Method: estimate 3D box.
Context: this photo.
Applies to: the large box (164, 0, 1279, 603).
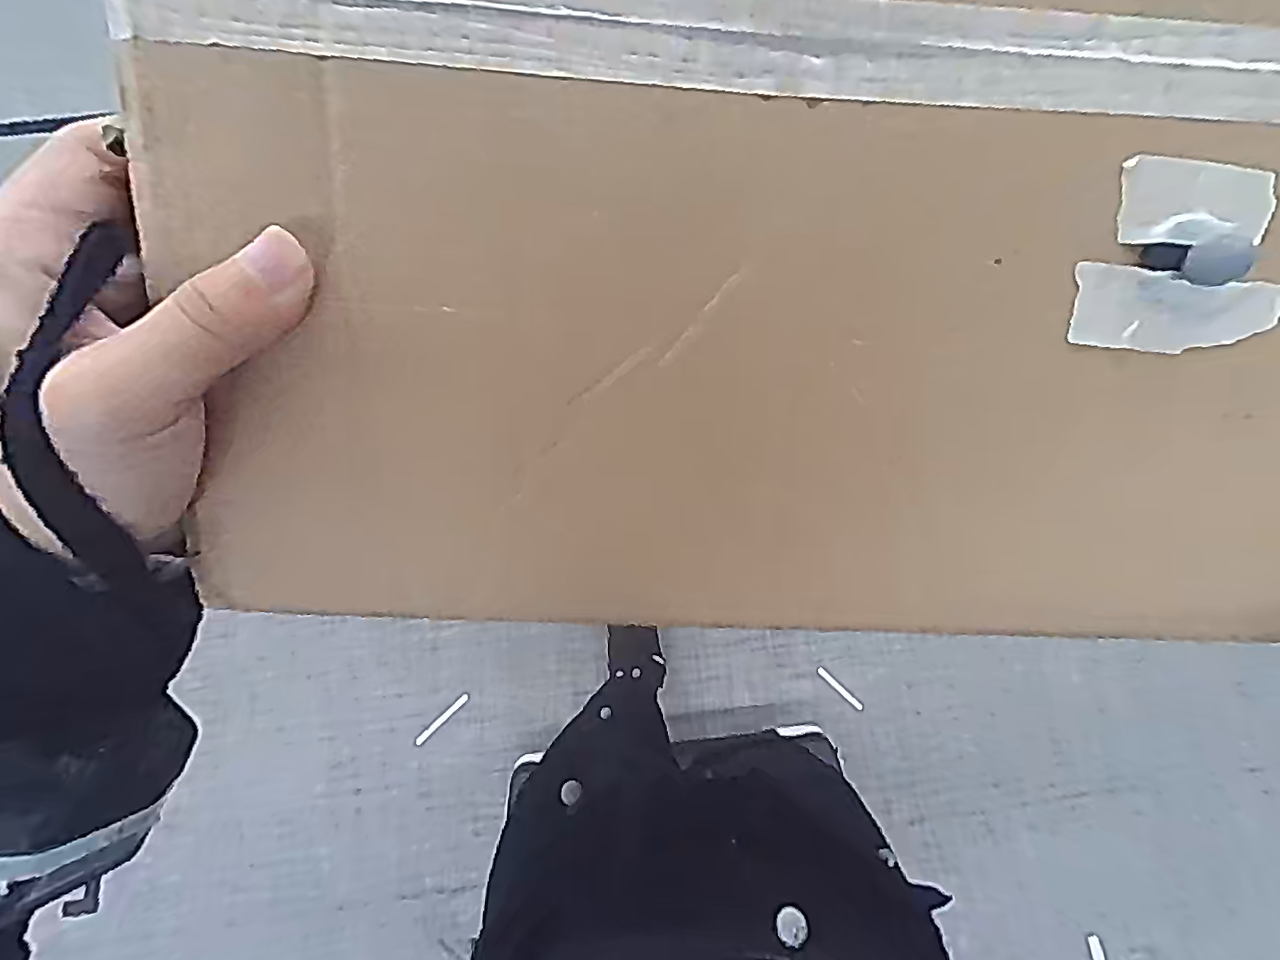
[{"bbox_3d":[0.068,-0.141,0.293,0.408,0.320,0.320,1,103,-4],"label":"large box"}]
